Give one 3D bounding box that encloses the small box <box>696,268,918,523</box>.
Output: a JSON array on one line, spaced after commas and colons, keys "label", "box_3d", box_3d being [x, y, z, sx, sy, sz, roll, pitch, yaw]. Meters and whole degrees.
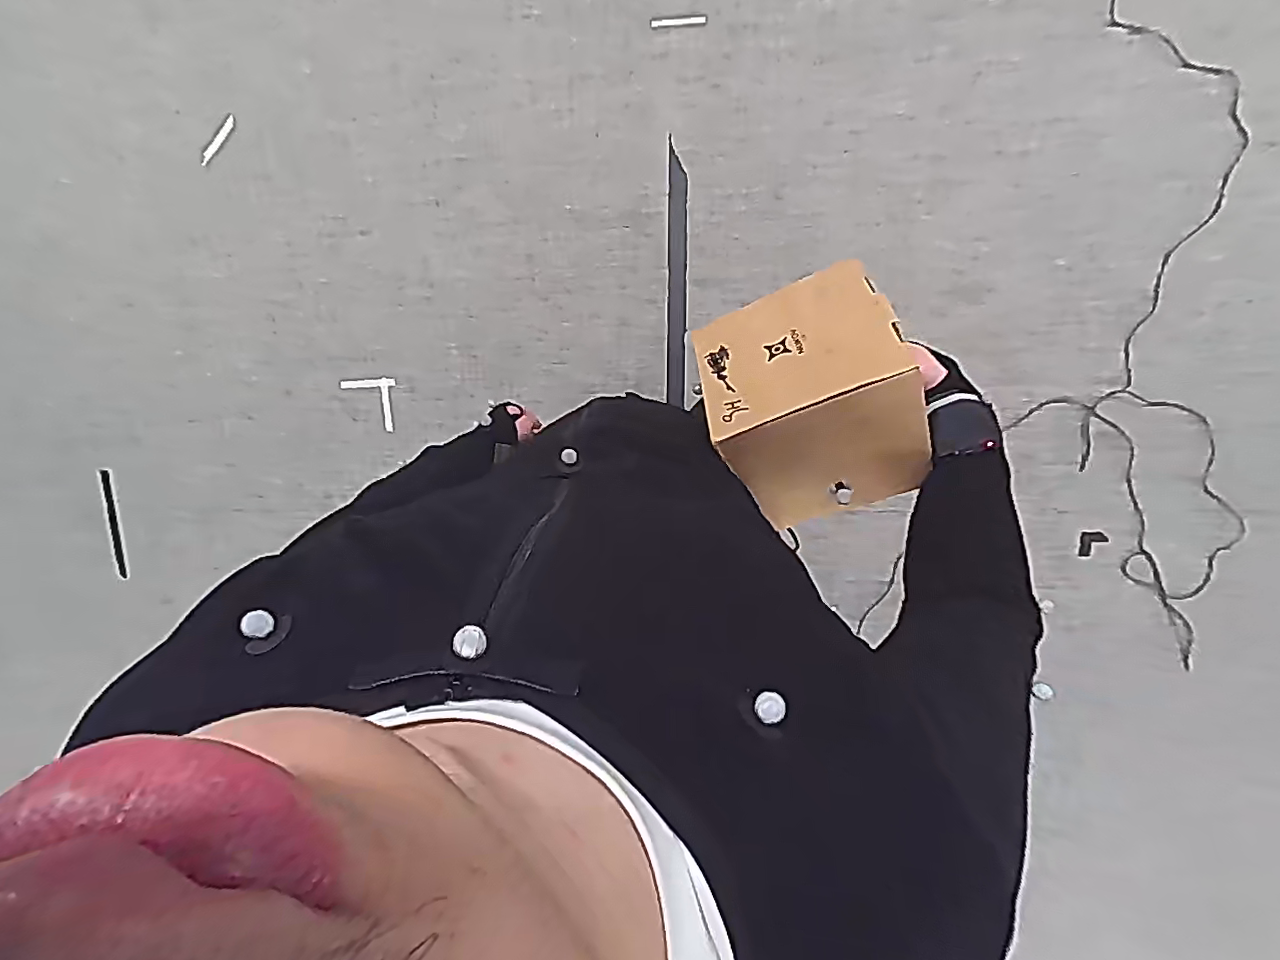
[{"label": "small box", "box_3d": [0.178, -0.080, 0.574, 0.179, 0.168, 0.176, -20, 137, 19]}]
